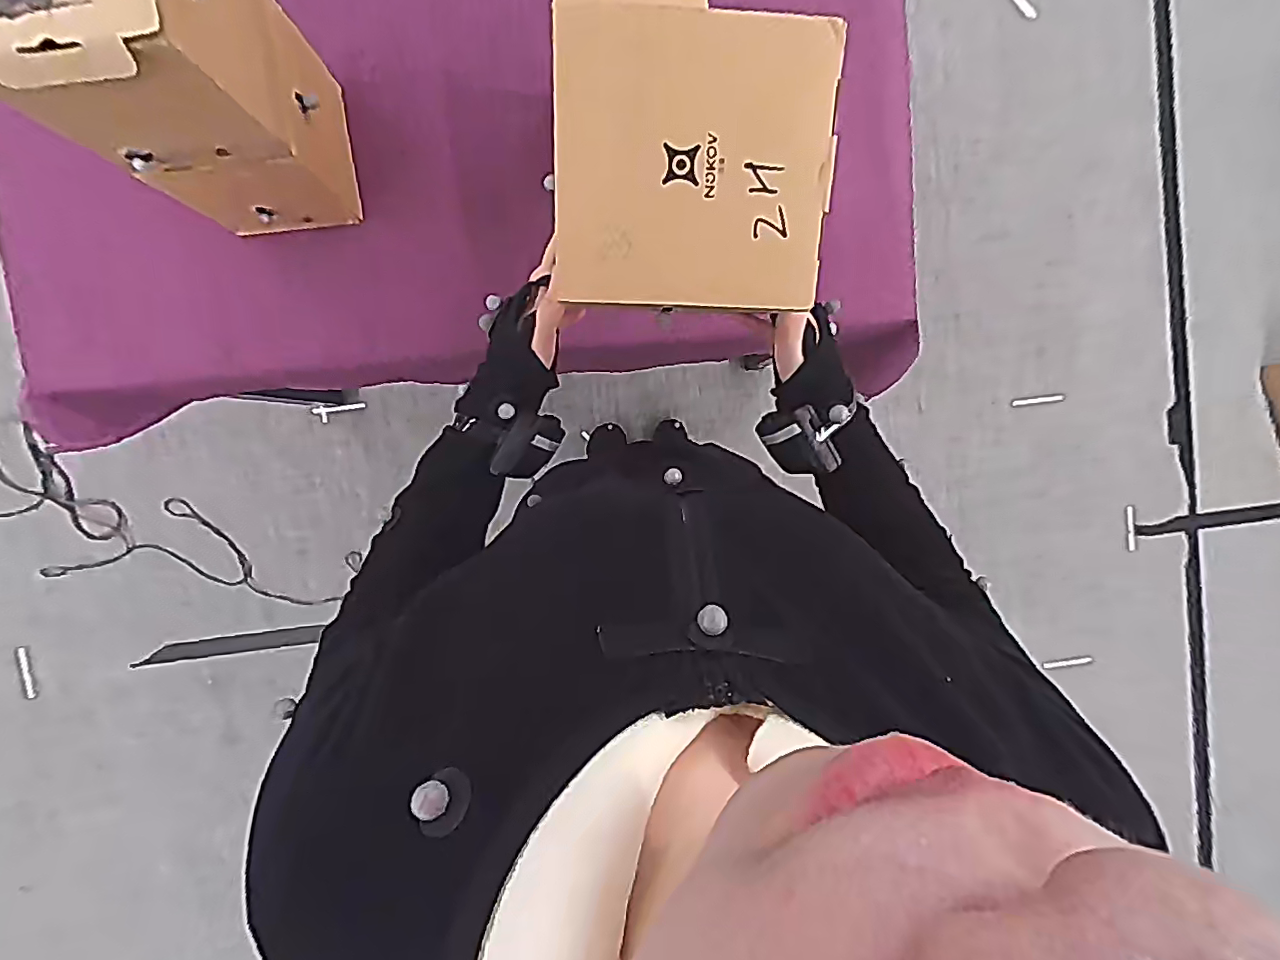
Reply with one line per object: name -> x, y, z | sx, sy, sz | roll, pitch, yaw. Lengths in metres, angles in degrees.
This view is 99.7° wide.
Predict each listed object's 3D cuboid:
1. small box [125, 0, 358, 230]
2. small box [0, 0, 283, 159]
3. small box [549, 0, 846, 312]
small box -> -0.455, -0.415, 0.625 | 0.168, 0.176, 0.179 | -8, 96, -4
small box -> -0.444, -0.402, 0.462 | 0.168, 0.176, 0.179 | -9, 95, -4
small box -> 0.028, -0.219, 0.413 | 0.179, 0.176, 0.168 | 1, 107, -4
